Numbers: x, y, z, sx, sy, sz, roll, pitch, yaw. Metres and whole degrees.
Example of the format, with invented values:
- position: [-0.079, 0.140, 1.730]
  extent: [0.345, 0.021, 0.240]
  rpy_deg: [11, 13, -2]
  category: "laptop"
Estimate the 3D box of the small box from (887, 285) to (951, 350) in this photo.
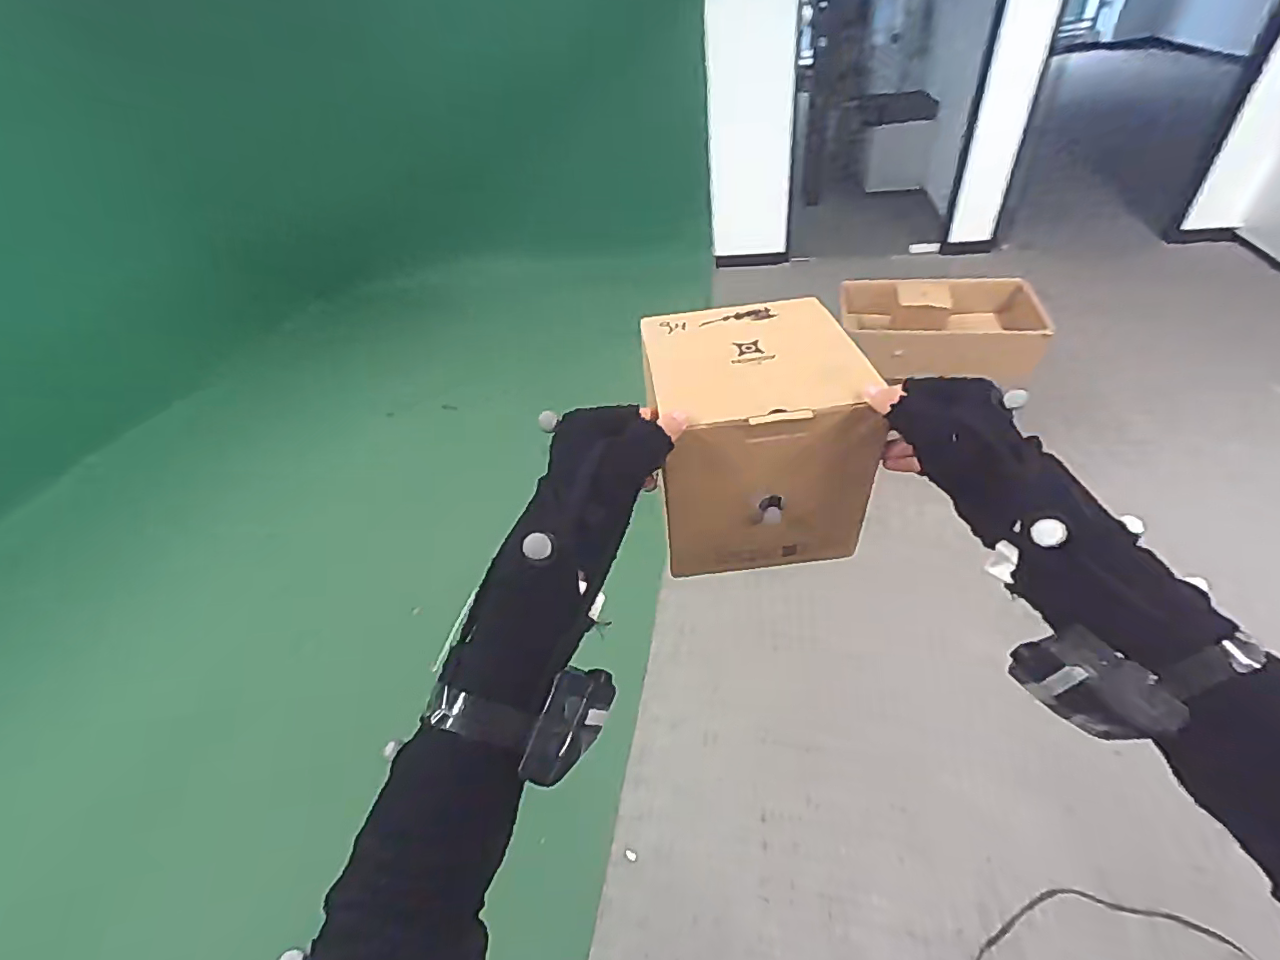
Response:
- position: [0.984, -0.575, 1.919]
  extent: [0.168, 0.176, 0.179]
  rpy_deg: [8, 43, 15]
  category: "small box"

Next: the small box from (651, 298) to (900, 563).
- position: [0.103, -0.040, 0.487]
  extent: [0.168, 0.176, 0.179]
  rpy_deg: [-6, 42, 0]
  category: "small box"
